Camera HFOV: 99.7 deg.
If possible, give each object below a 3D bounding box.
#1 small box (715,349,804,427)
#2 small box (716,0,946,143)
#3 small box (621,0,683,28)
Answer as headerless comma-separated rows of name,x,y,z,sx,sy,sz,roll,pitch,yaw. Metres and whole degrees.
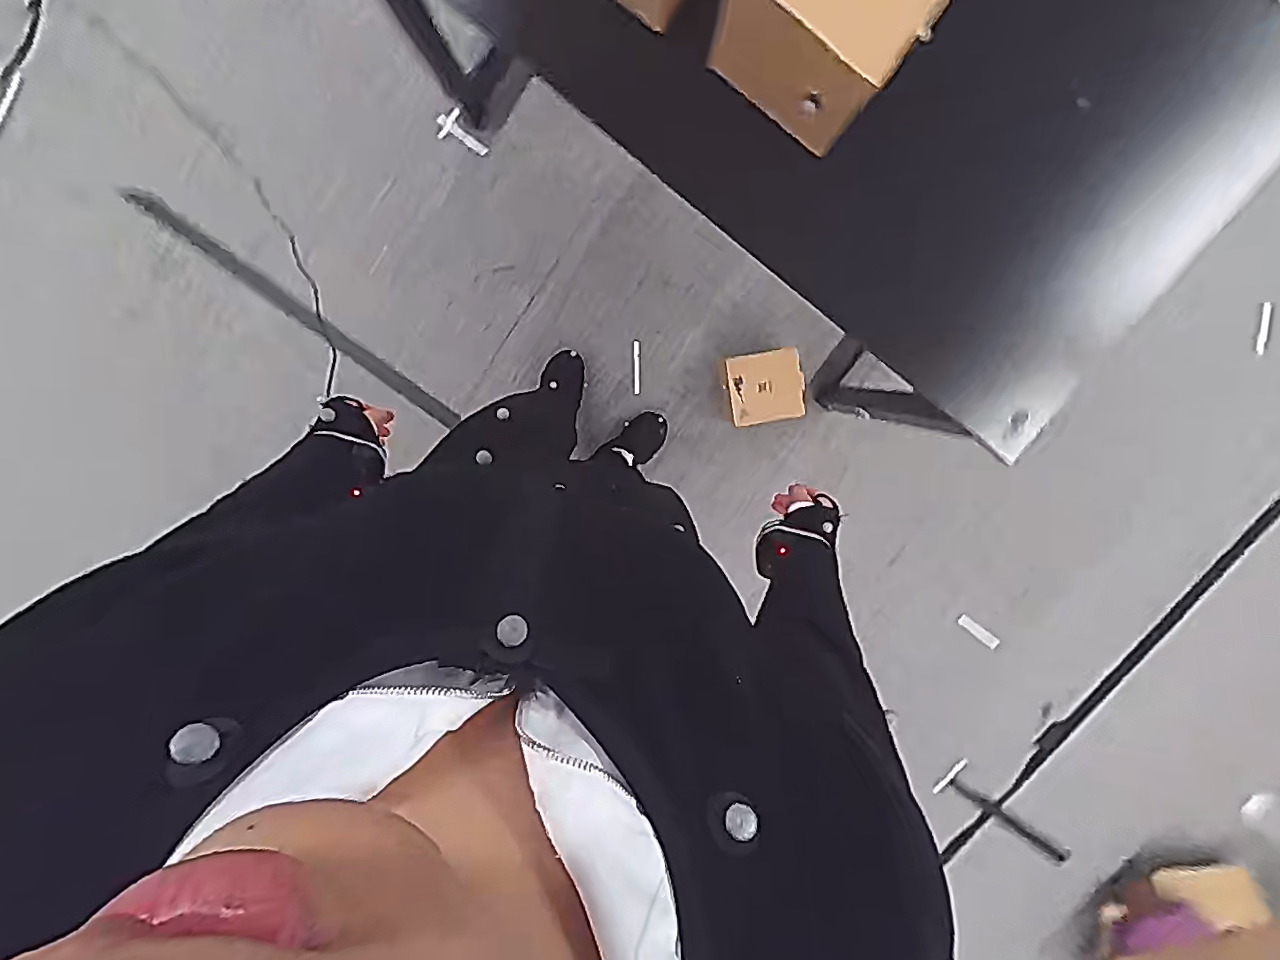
small box,0.298,-0.237,1.373,0.179,0.176,0.168,-9,101,1
small box,0.204,-0.502,0.576,0.179,0.176,0.168,36,98,-7
small box,0.014,-0.631,0.544,0.168,0.176,0.179,36,99,-8
